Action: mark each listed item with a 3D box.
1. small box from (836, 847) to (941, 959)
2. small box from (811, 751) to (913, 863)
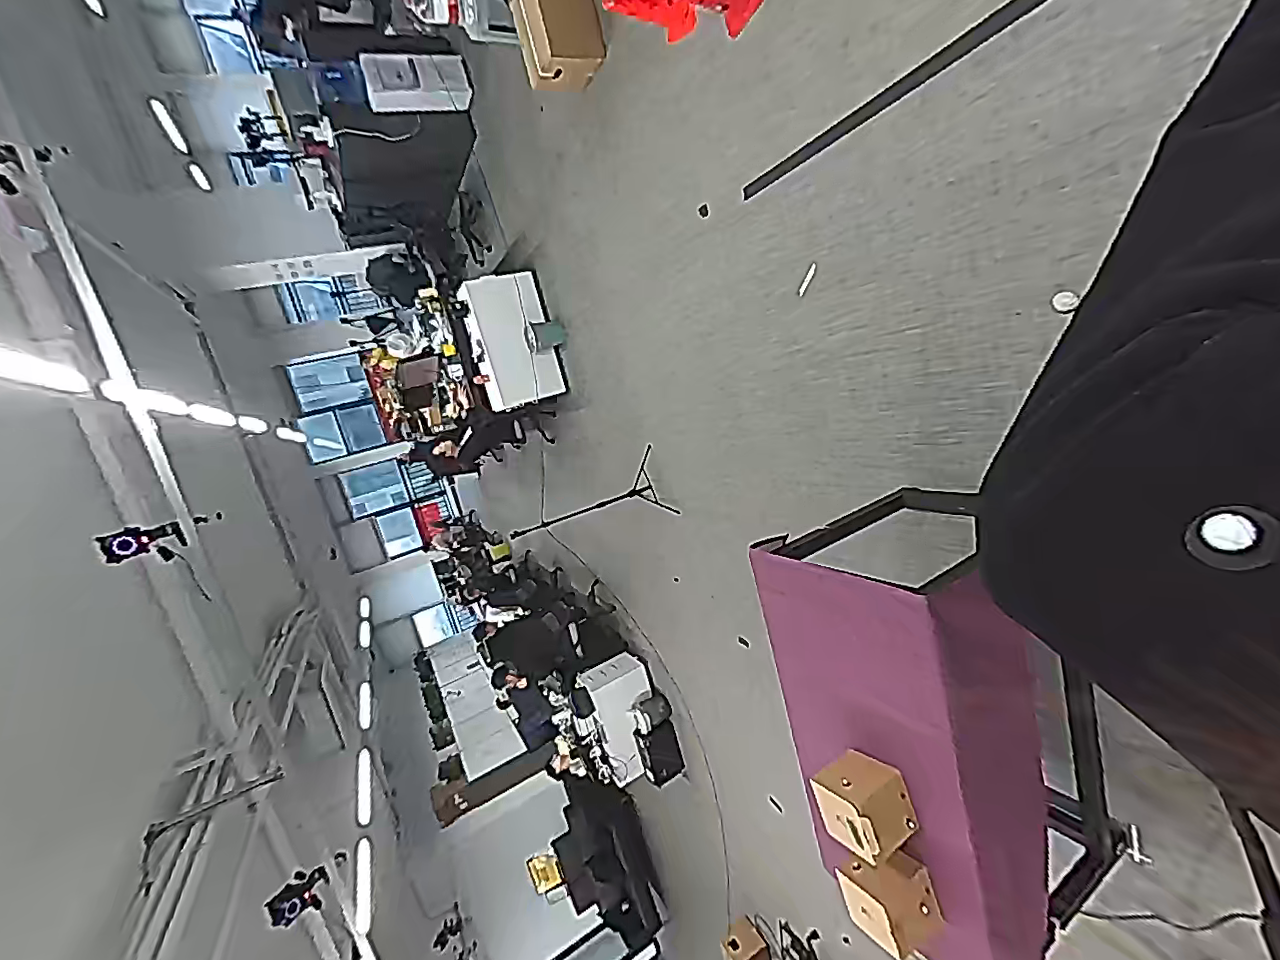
[{"bbox_3d":[0.679,1.132,1.482,0.179,0.176,0.168,-11,98,65],"label":"small box"},{"bbox_3d":[0.600,0.863,1.449,0.179,0.176,0.168,-15,94,66],"label":"small box"}]
